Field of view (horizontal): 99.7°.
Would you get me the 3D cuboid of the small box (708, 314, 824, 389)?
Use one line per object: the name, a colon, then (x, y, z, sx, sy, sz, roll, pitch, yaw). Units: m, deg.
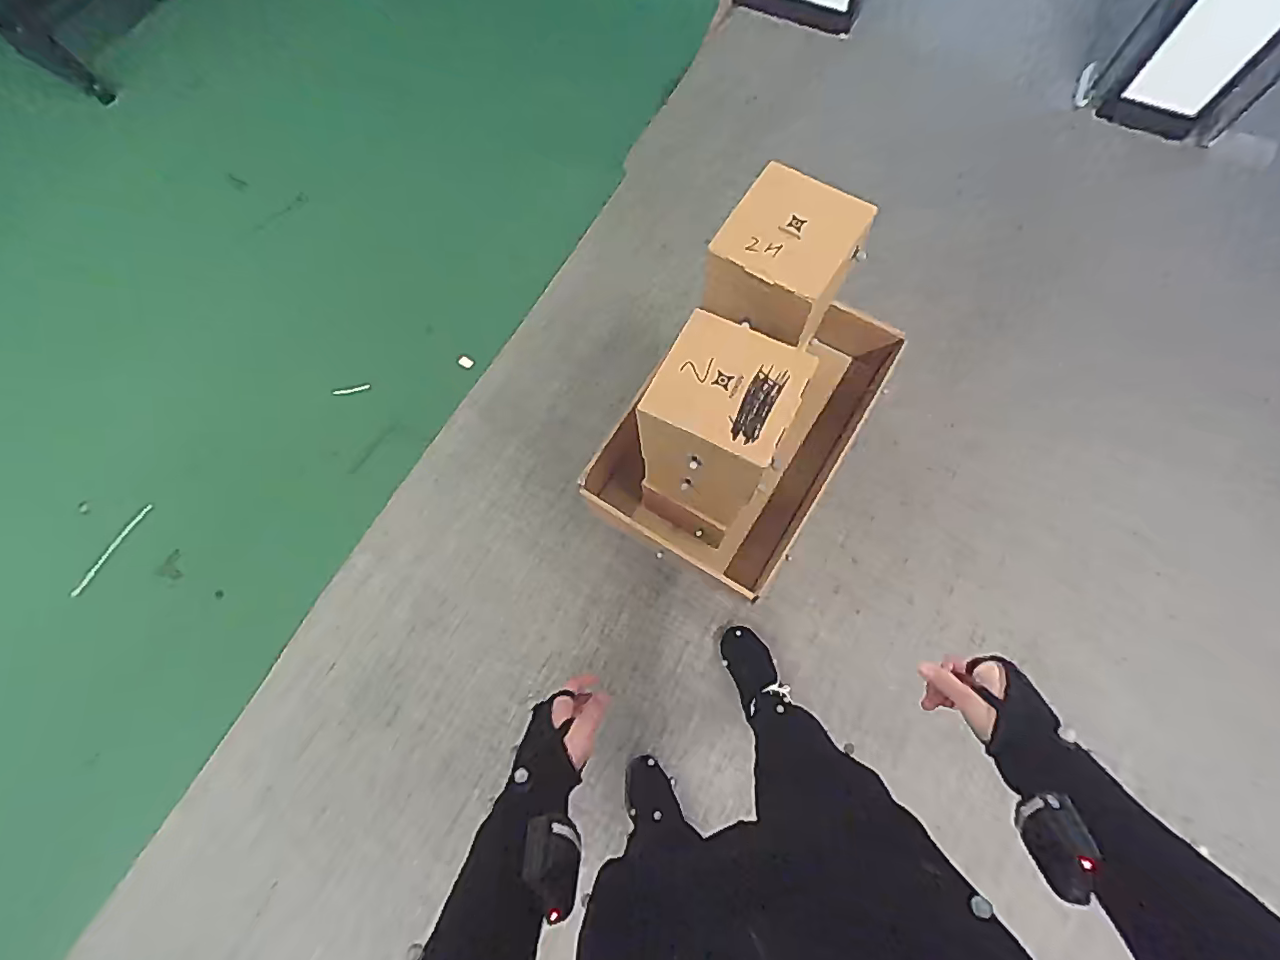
small box: (0.228, -0.287, 0.954, 0.168, 0.176, 0.179, 25, 78, 10)

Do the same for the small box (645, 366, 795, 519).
small box: (0.126, -0.050, 0.892, 0.179, 0.176, 0.168, 29, 76, 12)

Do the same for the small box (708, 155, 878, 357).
small box: (0.209, -0.318, 0.792, 0.168, 0.176, 0.179, 32, 80, 13)
